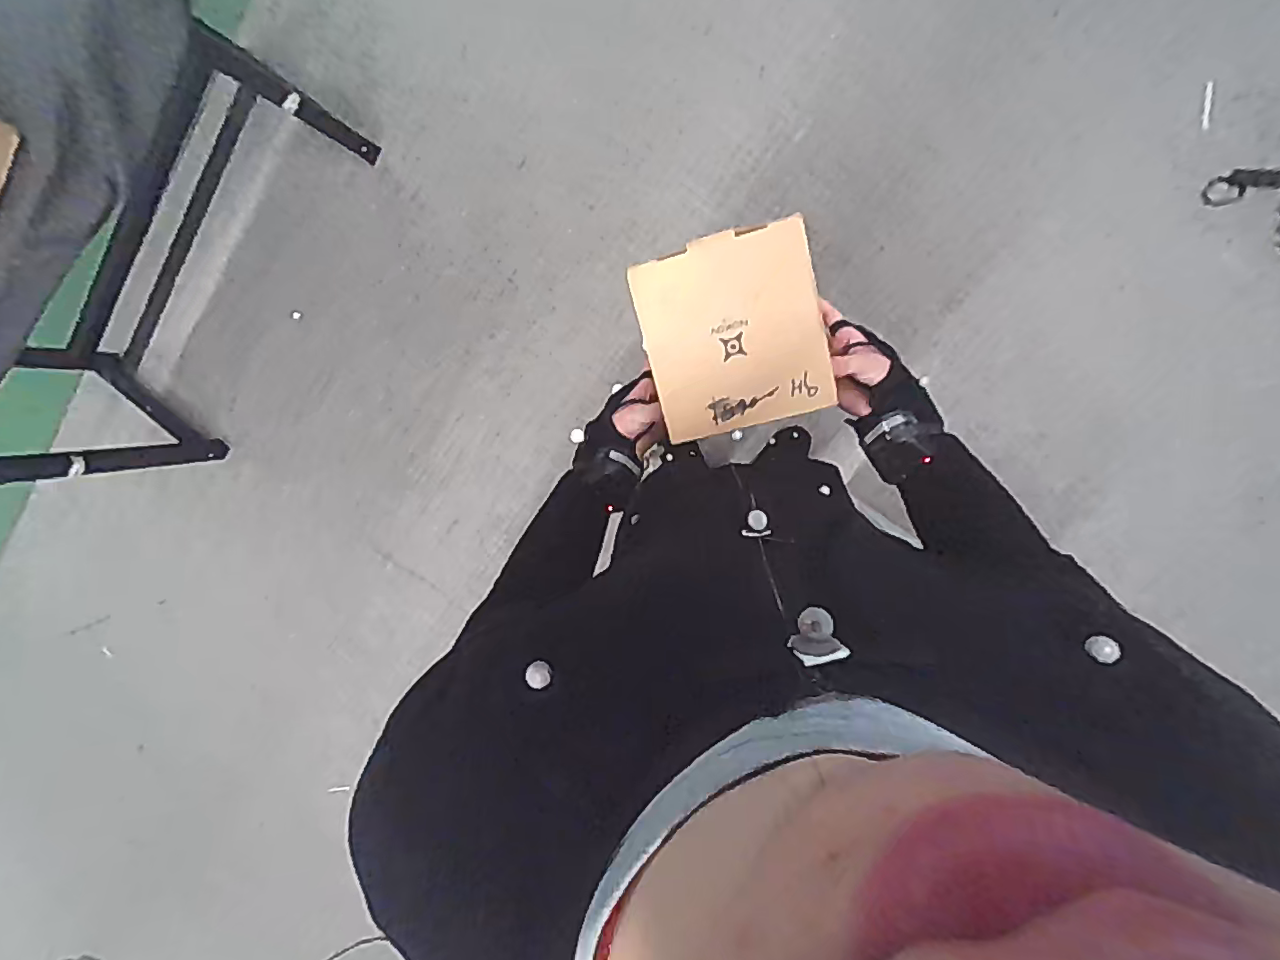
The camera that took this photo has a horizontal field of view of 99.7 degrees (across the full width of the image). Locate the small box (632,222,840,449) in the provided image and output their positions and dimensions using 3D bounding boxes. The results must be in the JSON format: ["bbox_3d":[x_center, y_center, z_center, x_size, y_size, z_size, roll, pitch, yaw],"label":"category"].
[{"bbox_3d":[0.102,-0.148,0.586,0.168,0.176,0.179,-14,102,13],"label":"small box"}]
